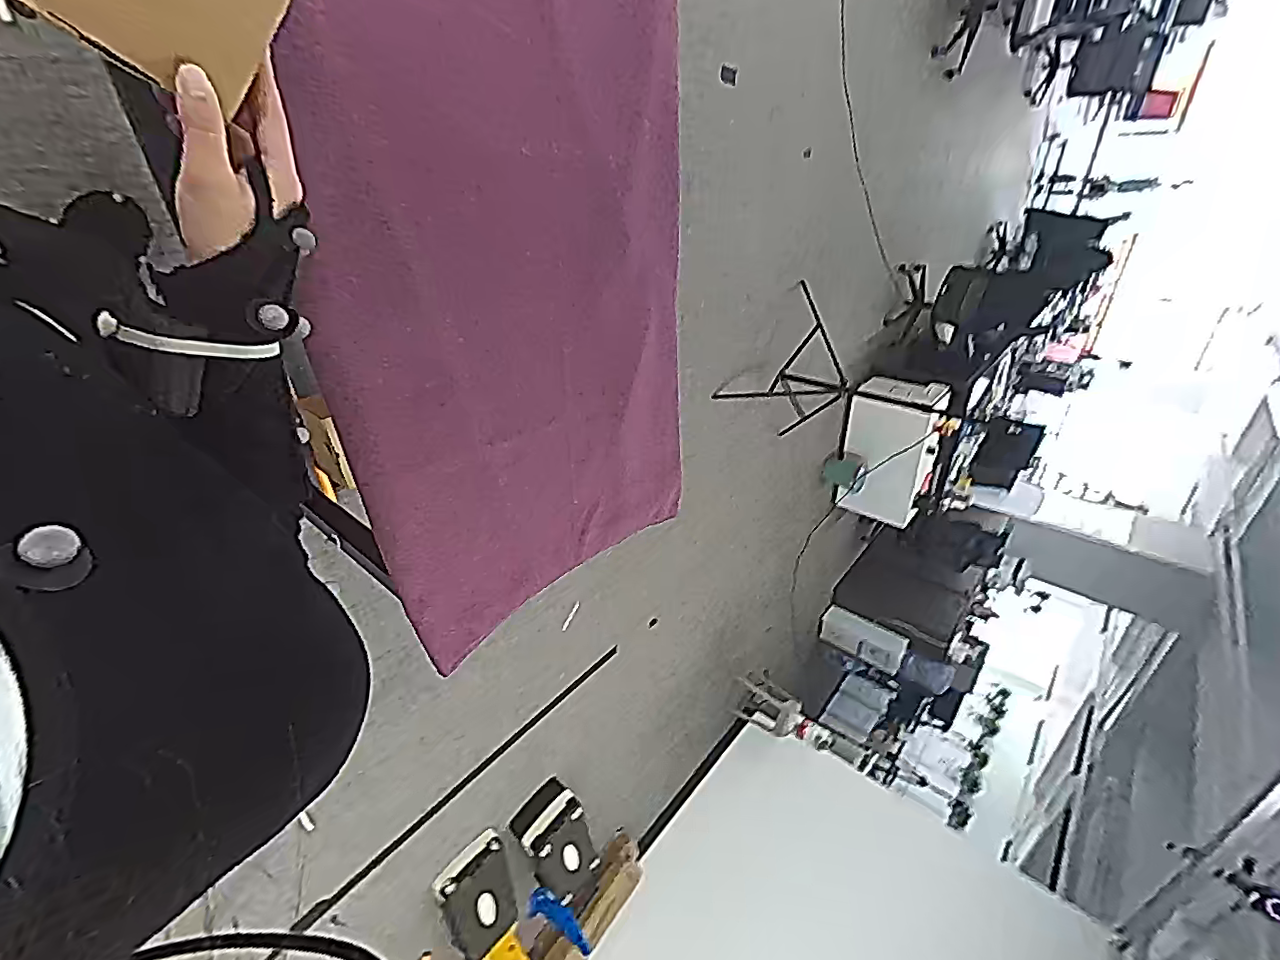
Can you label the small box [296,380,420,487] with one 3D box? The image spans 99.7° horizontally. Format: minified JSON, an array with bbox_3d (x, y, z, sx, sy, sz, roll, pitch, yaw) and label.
[{"bbox_3d":[-0.621,-0.109,1.186,0.179,0.176,0.168,-31,130,-41],"label":"small box"}]
